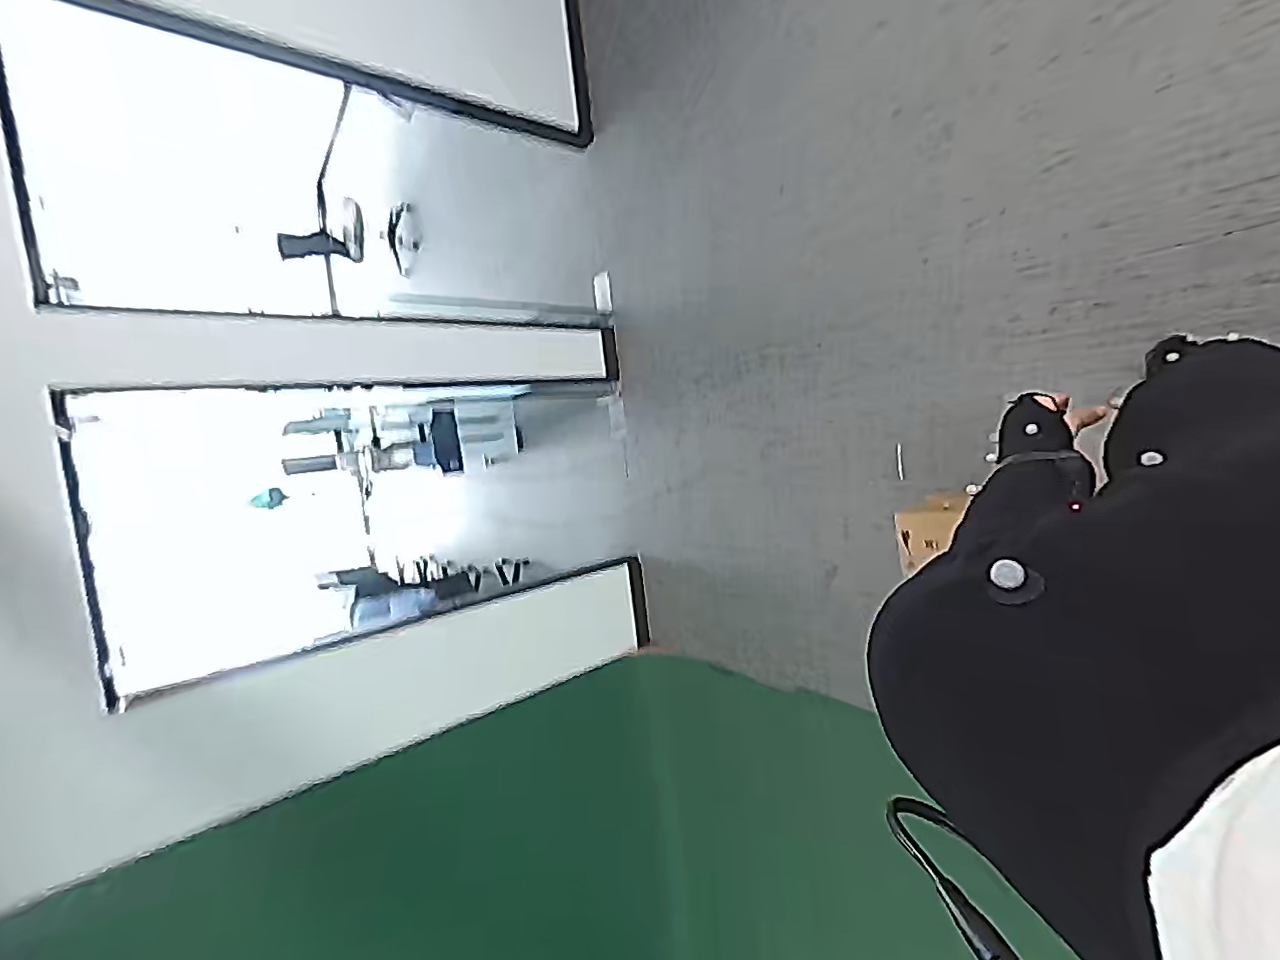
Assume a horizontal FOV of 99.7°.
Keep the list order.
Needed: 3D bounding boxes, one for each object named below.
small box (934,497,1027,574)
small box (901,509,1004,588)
[{"bbox_3d":[0.922,0.144,1.461,0.168,0.176,0.179,-2,94,53],"label":"small box"},{"bbox_3d":[0.792,0.167,1.364,0.179,0.176,0.168,-7,90,52],"label":"small box"}]
